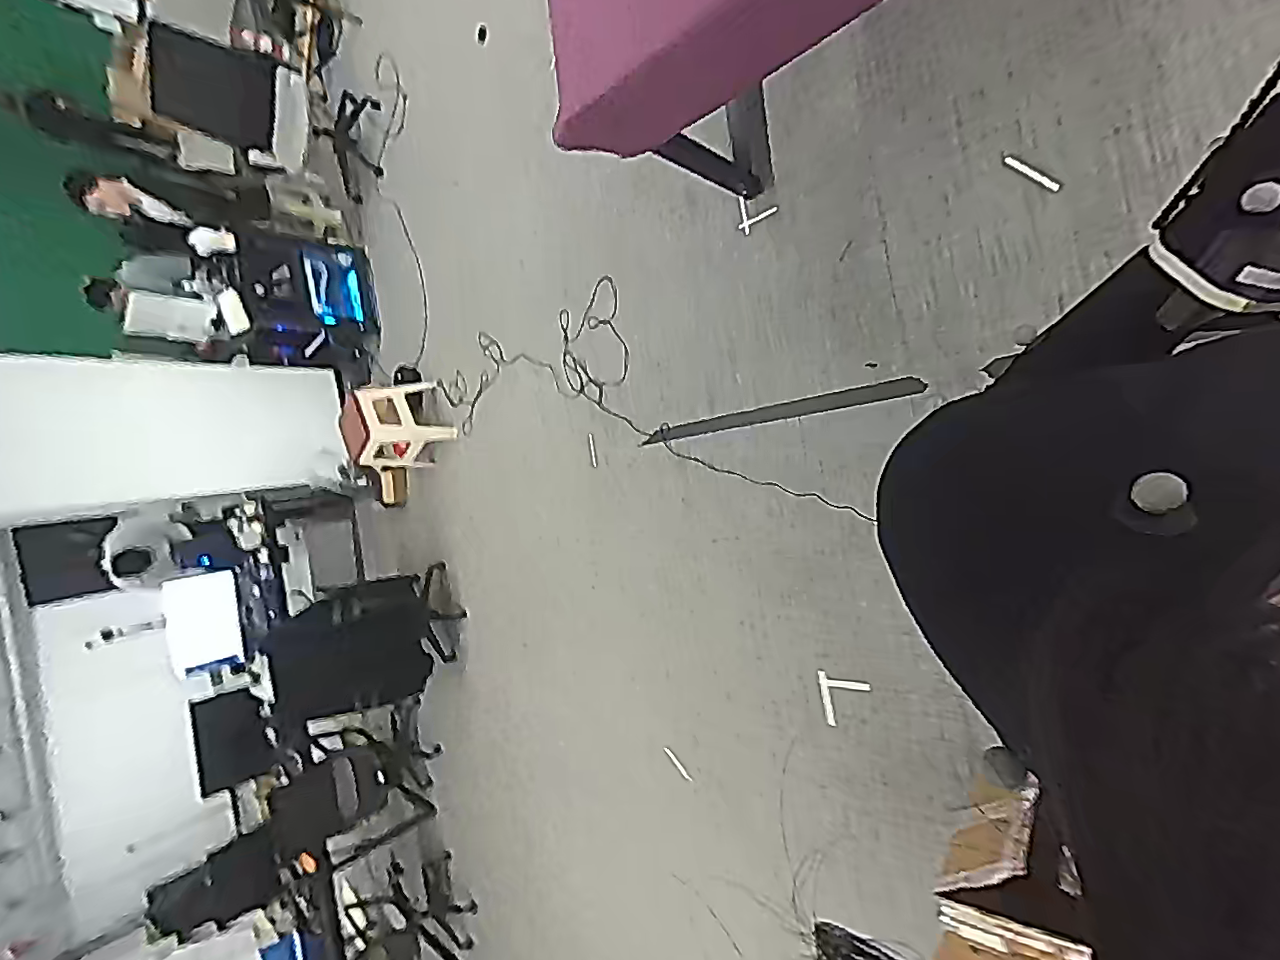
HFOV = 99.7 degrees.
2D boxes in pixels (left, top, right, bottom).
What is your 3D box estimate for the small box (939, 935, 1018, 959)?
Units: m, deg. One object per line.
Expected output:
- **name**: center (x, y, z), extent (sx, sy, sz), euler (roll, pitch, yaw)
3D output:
- **small box**: center (0.614, 0.953, 0.926), extent (0.168, 0.176, 0.179), euler (-14, 89, 45)
